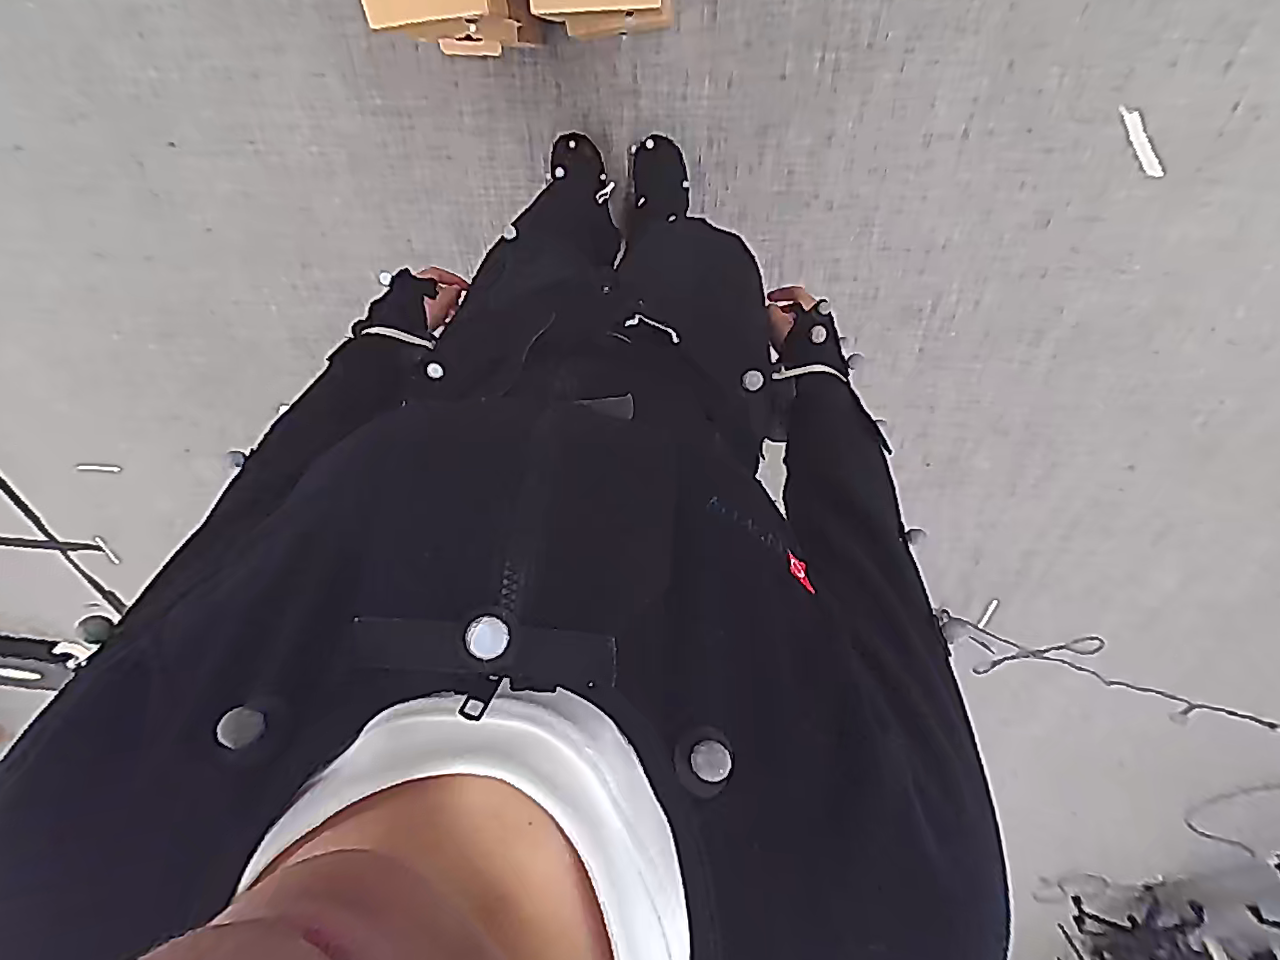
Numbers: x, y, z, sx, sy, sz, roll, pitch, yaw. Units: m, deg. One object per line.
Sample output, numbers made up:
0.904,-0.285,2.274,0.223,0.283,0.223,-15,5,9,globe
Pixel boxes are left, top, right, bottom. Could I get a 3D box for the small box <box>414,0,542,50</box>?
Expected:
-0.263,-0.818,0.882,0.168,0.176,0.179,4,126,3,small box
